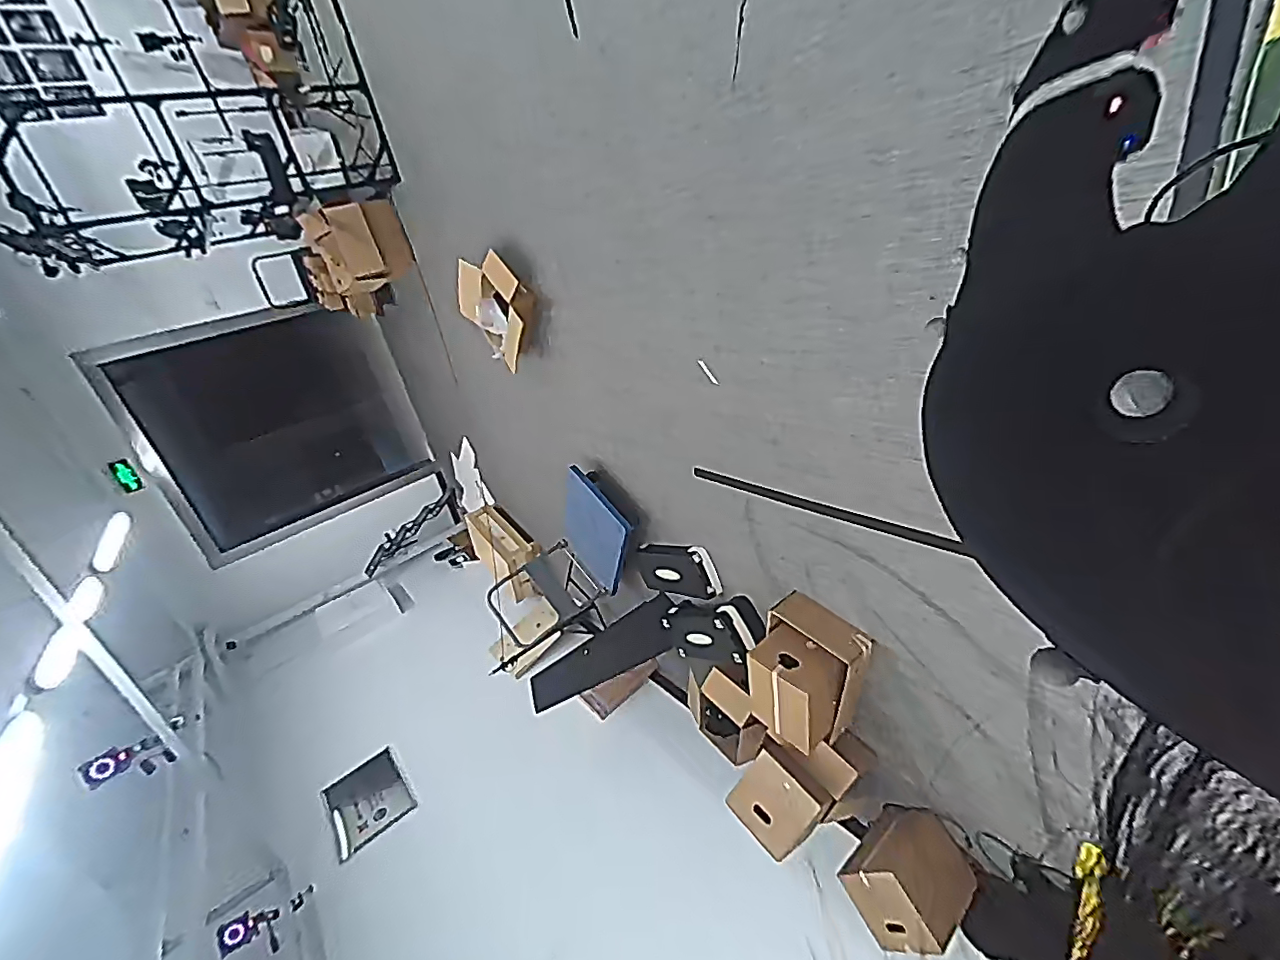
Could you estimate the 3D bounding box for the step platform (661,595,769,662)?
[{"bbox_3d":[0.386,0.821,2.983,0.286,0.204,0.684,61,149,-1],"label":"step platform"}]
